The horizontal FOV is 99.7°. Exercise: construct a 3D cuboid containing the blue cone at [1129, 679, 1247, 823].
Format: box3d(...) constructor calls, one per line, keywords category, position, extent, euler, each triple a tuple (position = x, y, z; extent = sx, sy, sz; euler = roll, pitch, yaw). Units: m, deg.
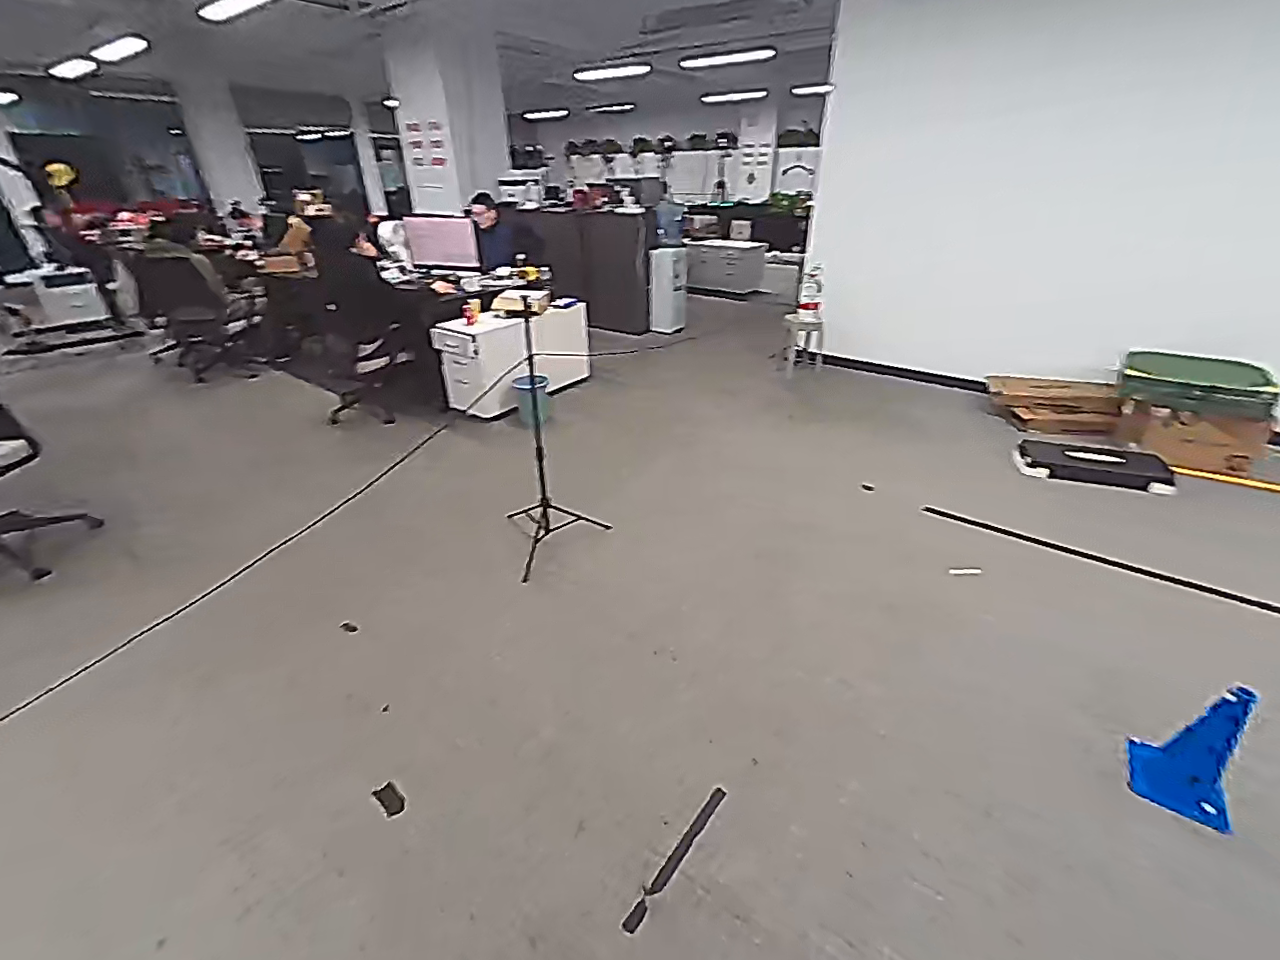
box3d(category="blue cone", position=(1.415, 0.646, 1.353), extent=(0.192, 0.380, 0.193), euler=(19, 35, 33))
